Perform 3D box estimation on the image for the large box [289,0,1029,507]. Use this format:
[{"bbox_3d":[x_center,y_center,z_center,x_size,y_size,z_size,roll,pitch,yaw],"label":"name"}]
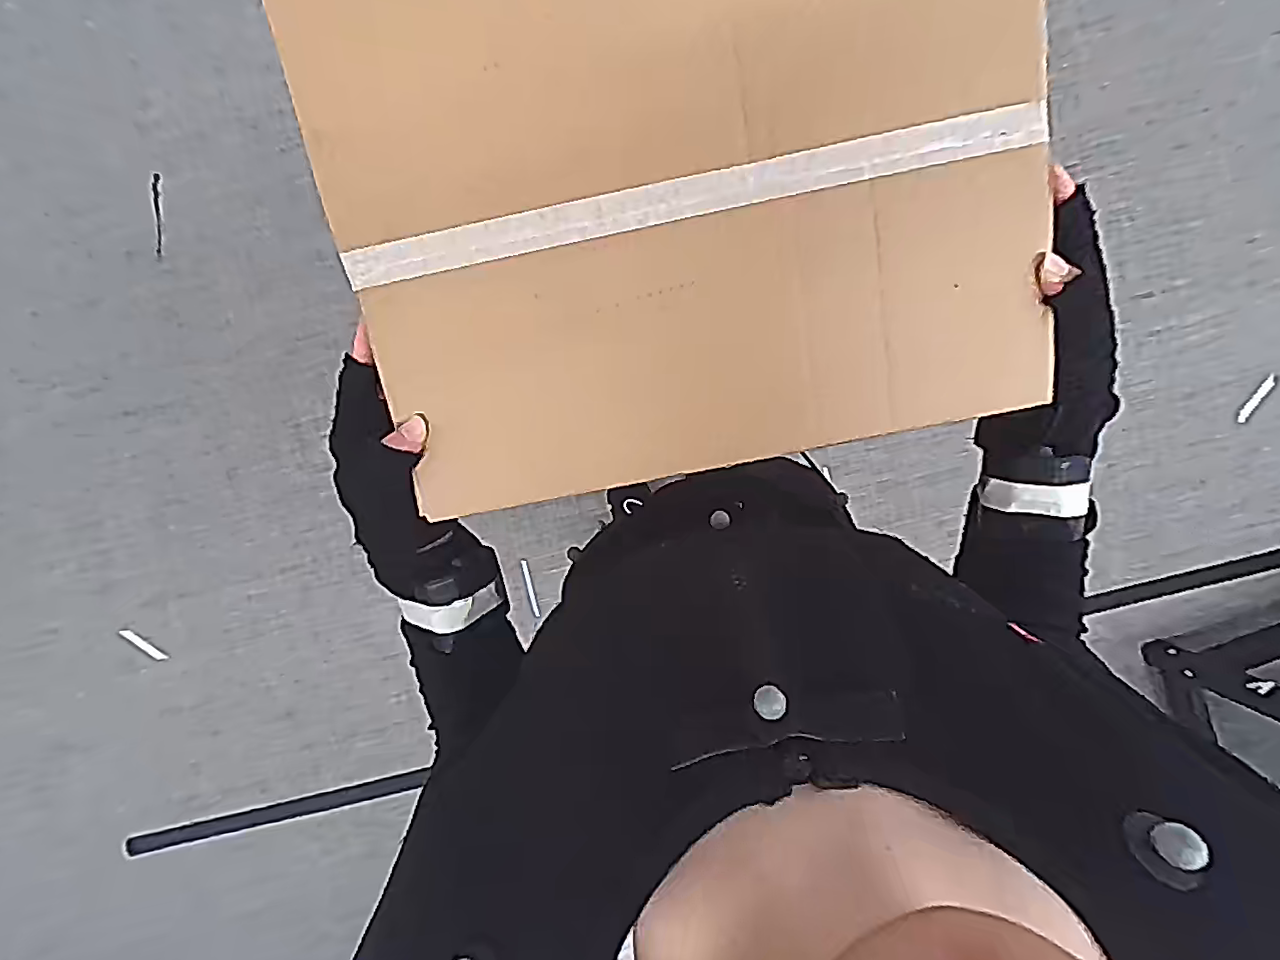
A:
[{"bbox_3d":[0.024,-0.197,0.468,0.408,0.320,0.320,-11,104,2],"label":"large box"}]
